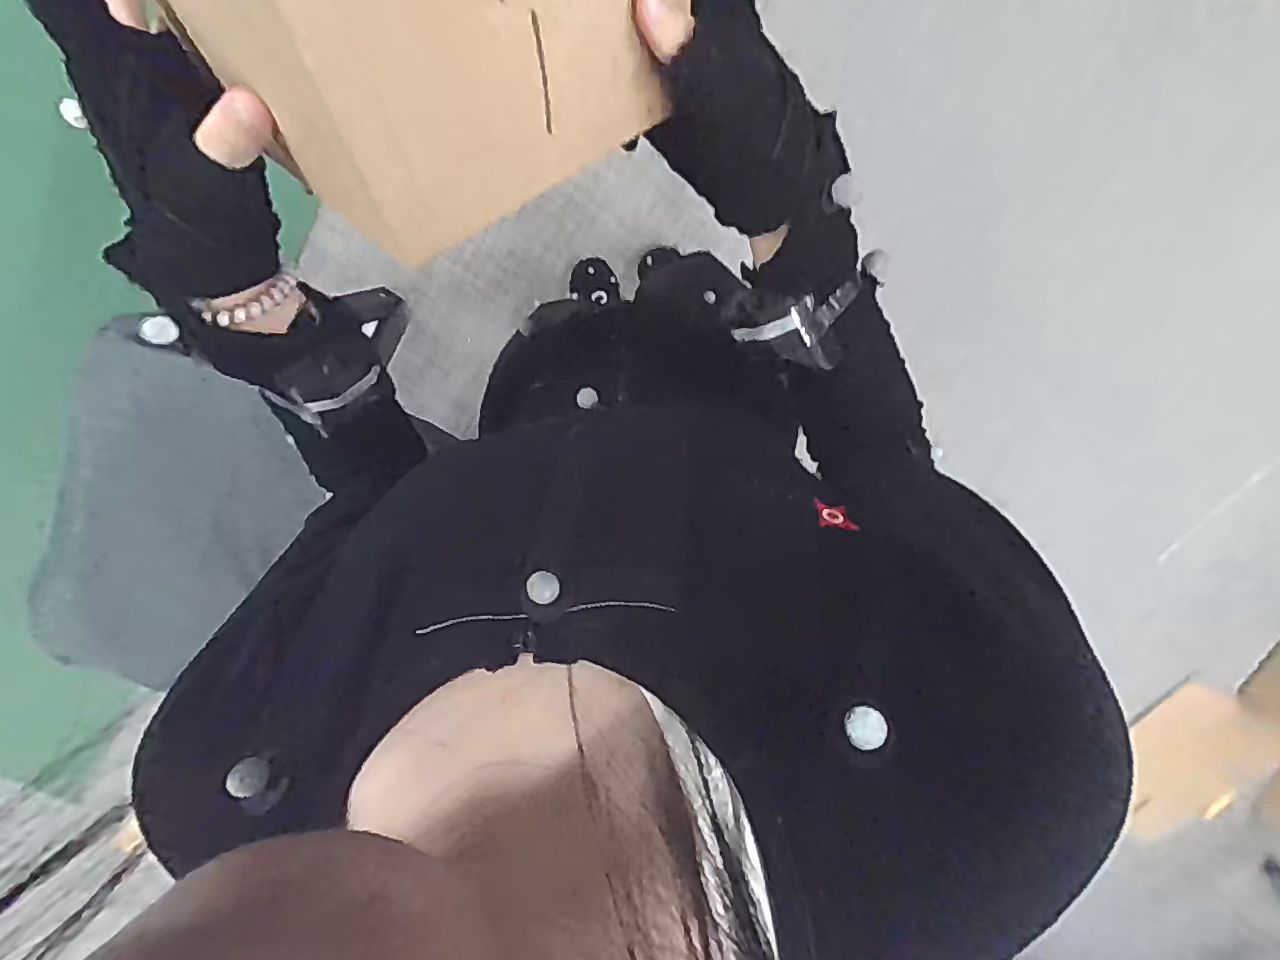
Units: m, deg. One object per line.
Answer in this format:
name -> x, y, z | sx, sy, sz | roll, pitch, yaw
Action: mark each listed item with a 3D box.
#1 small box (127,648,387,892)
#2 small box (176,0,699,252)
small box -> -0.429, 0.329, 0.632 | 0.179, 0.176, 0.168 | 27, 112, -12
small box -> -0.093, -0.230, 0.203 | 0.168, 0.176, 0.179 | -40, 154, -19
